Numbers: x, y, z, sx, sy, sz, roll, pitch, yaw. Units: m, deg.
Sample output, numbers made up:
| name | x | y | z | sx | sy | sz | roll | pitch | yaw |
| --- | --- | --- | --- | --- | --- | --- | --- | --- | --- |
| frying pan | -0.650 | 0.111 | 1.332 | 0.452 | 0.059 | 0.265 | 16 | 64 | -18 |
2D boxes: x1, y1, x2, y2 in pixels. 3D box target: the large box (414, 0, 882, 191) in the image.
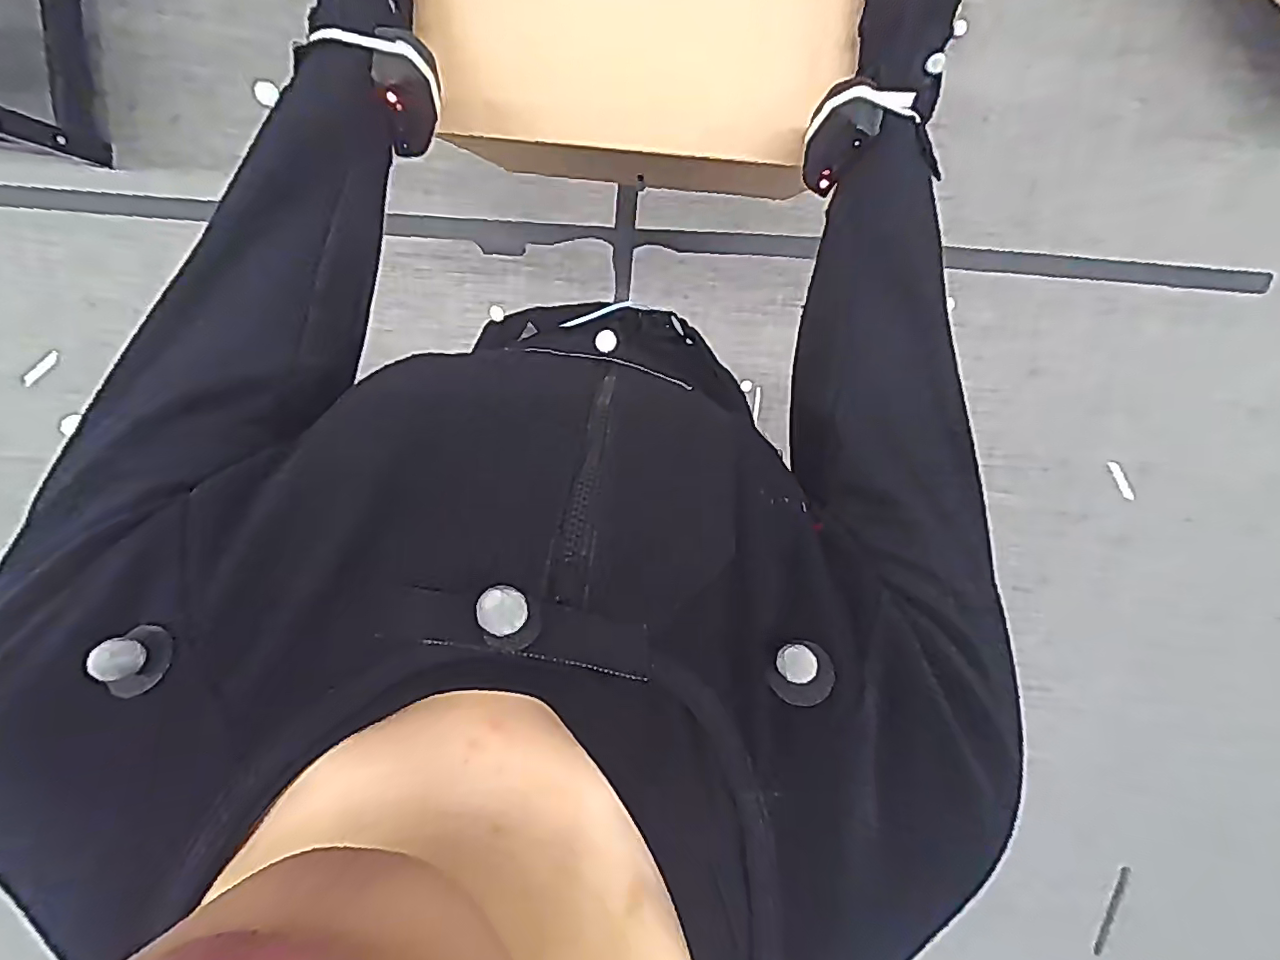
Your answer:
| name | x | y | z | sx | sy | sz | roll | pitch | yaw |
| --- | --- | --- | --- | --- | --- | --- | --- | --- | --- |
| large box | 0.017 | -0.505 | 0.577 | 0.408 | 0.320 | 0.320 | 6 | 113 | 1 |
